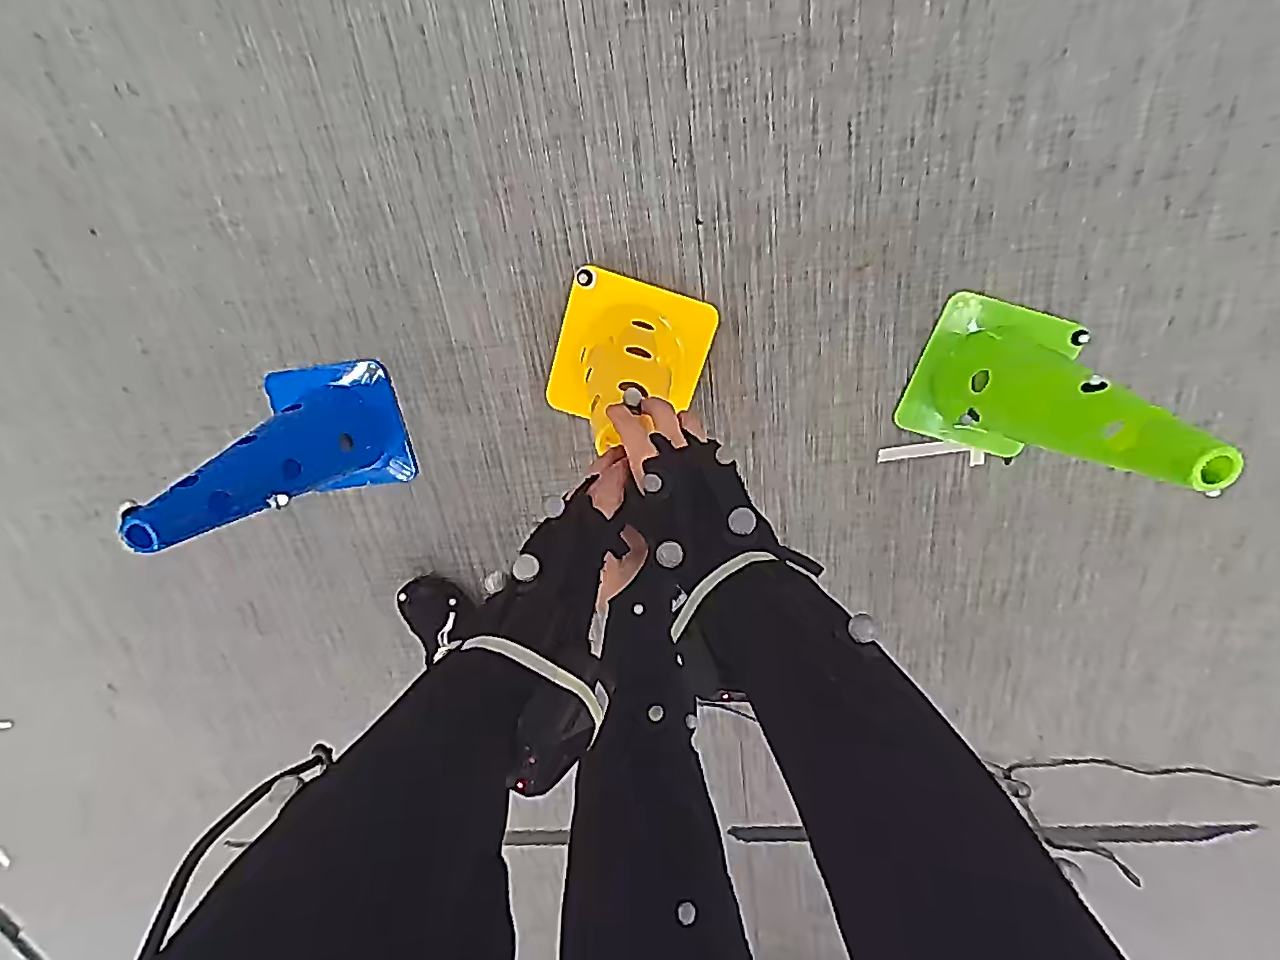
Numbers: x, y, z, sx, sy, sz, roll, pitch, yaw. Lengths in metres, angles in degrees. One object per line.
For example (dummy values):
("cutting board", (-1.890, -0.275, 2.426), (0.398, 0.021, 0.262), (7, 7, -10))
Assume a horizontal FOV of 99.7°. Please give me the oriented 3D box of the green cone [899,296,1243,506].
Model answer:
("green cone", (0.480, -0.071, 0.602), (0.200, 0.368, 0.202), (15, 114, -2))
